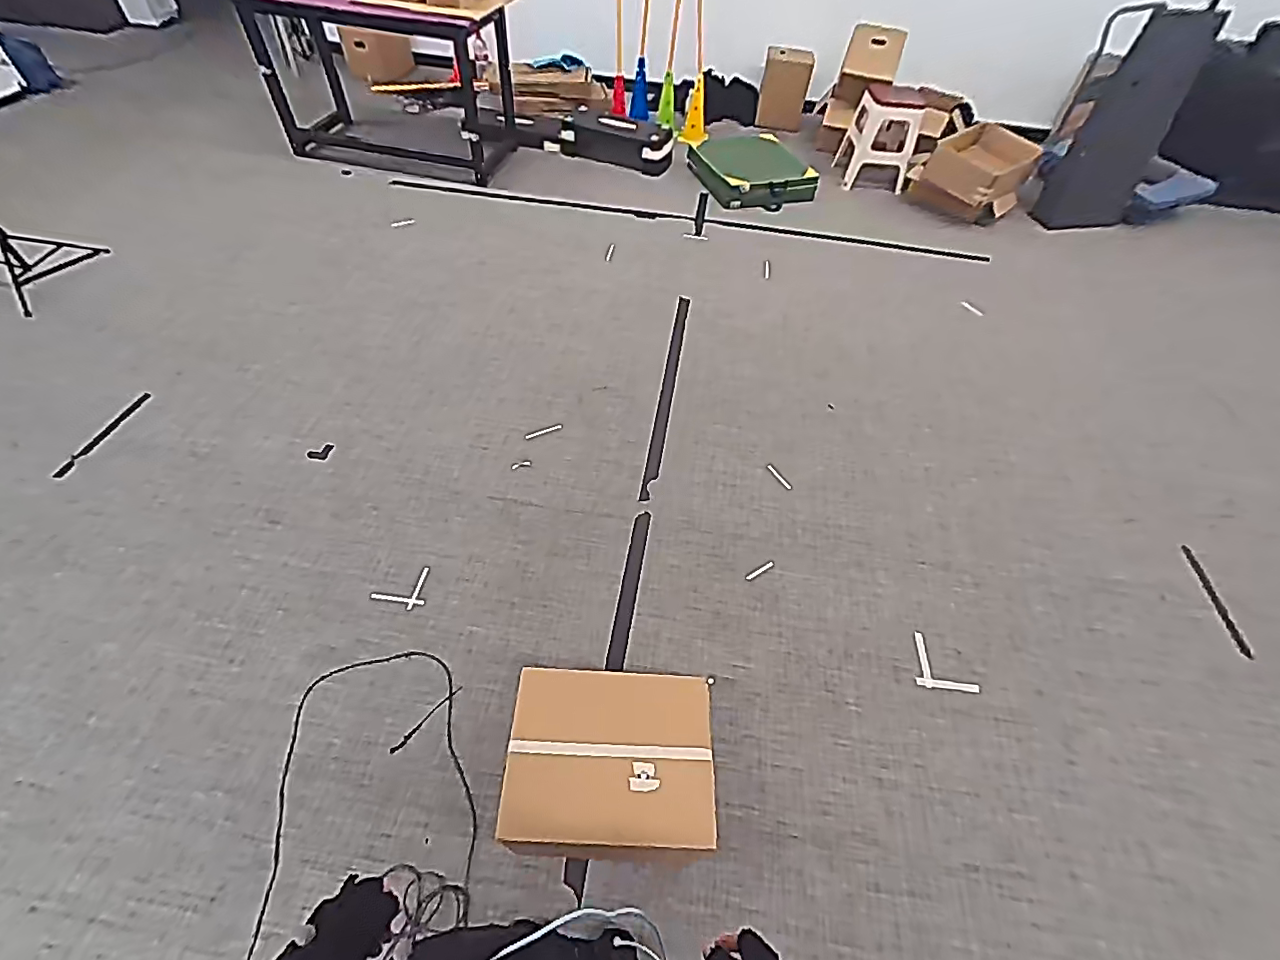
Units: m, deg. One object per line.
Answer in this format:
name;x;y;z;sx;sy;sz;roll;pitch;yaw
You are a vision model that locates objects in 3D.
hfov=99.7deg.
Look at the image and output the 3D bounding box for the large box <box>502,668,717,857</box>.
large box;-0.066;0.630;1.193;0.408;0.320;0.320;4;51;-2
